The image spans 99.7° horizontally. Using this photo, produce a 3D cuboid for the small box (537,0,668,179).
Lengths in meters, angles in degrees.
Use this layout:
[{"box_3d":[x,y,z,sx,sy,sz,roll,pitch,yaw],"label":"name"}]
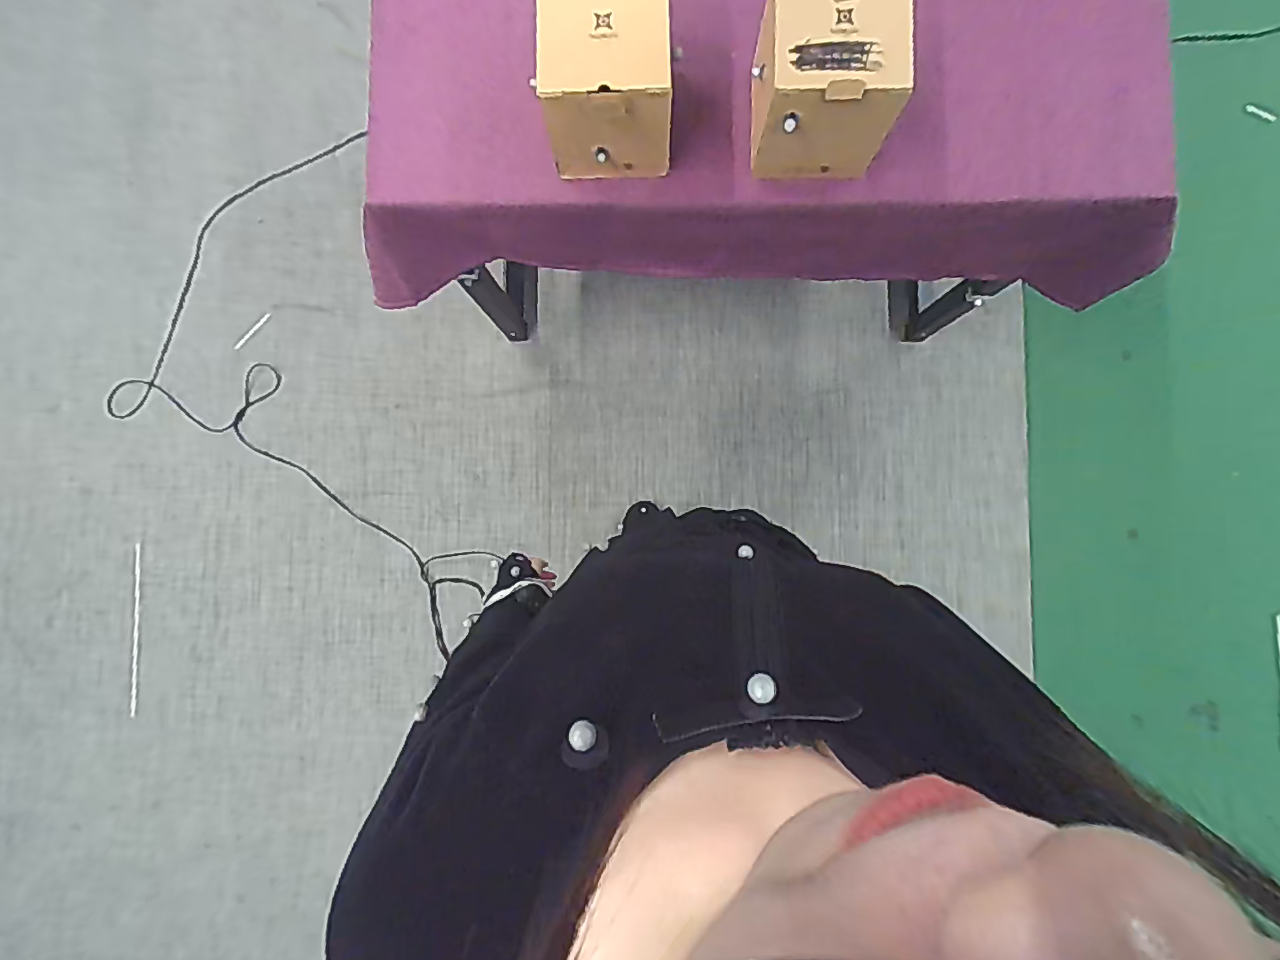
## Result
[{"box_3d":[-0.047,-0.555,0.756,0.168,0.176,0.179,-1,87,2],"label":"small box"}]
